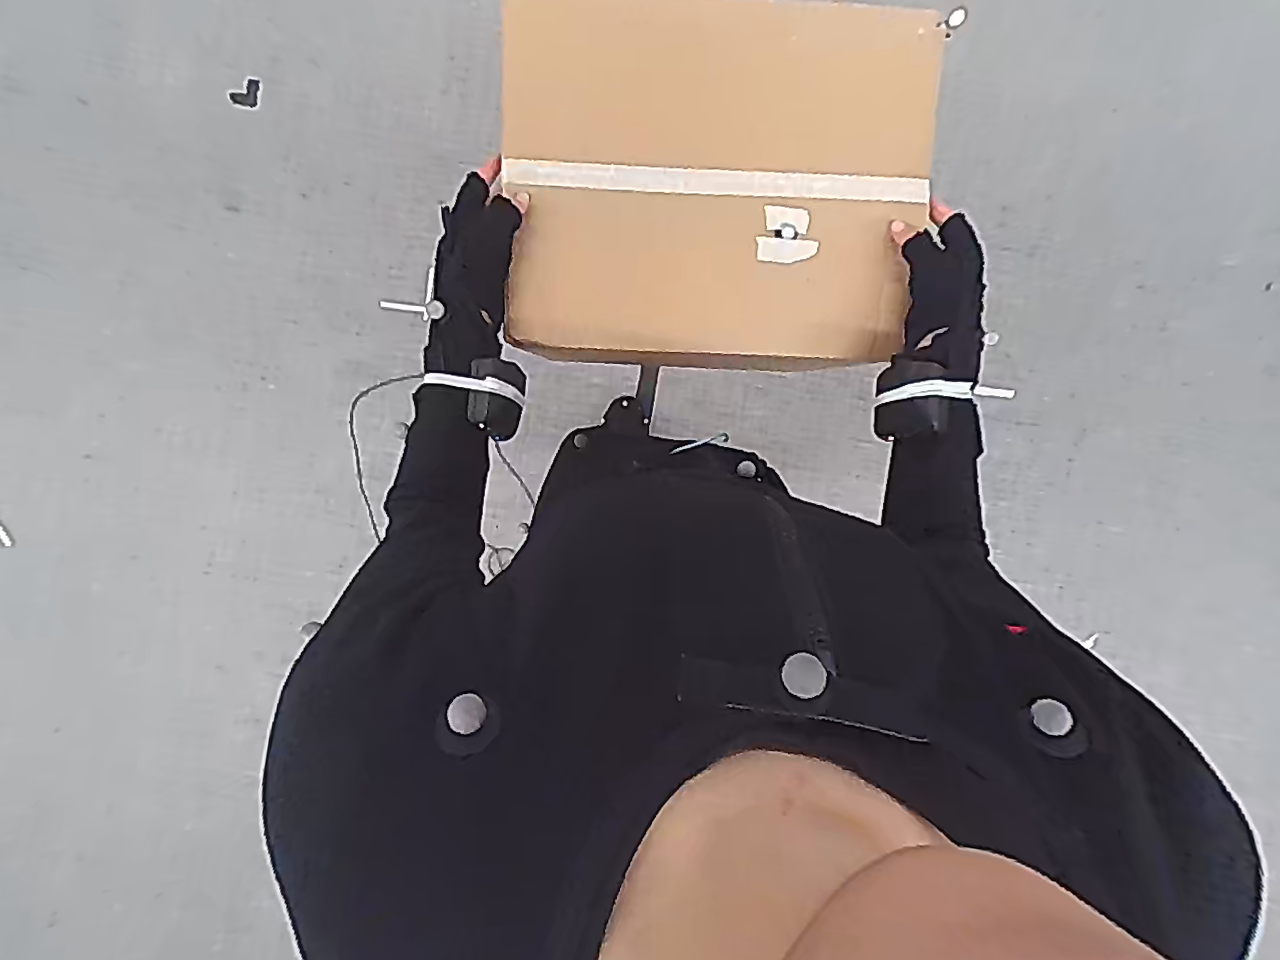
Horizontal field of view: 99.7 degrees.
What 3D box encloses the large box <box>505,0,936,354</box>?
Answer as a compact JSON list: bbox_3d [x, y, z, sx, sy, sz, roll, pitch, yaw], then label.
[{"bbox_3d":[0.065,-0.325,0.661,0.408,0.320,0.320,2,100,-3],"label":"large box"}]
